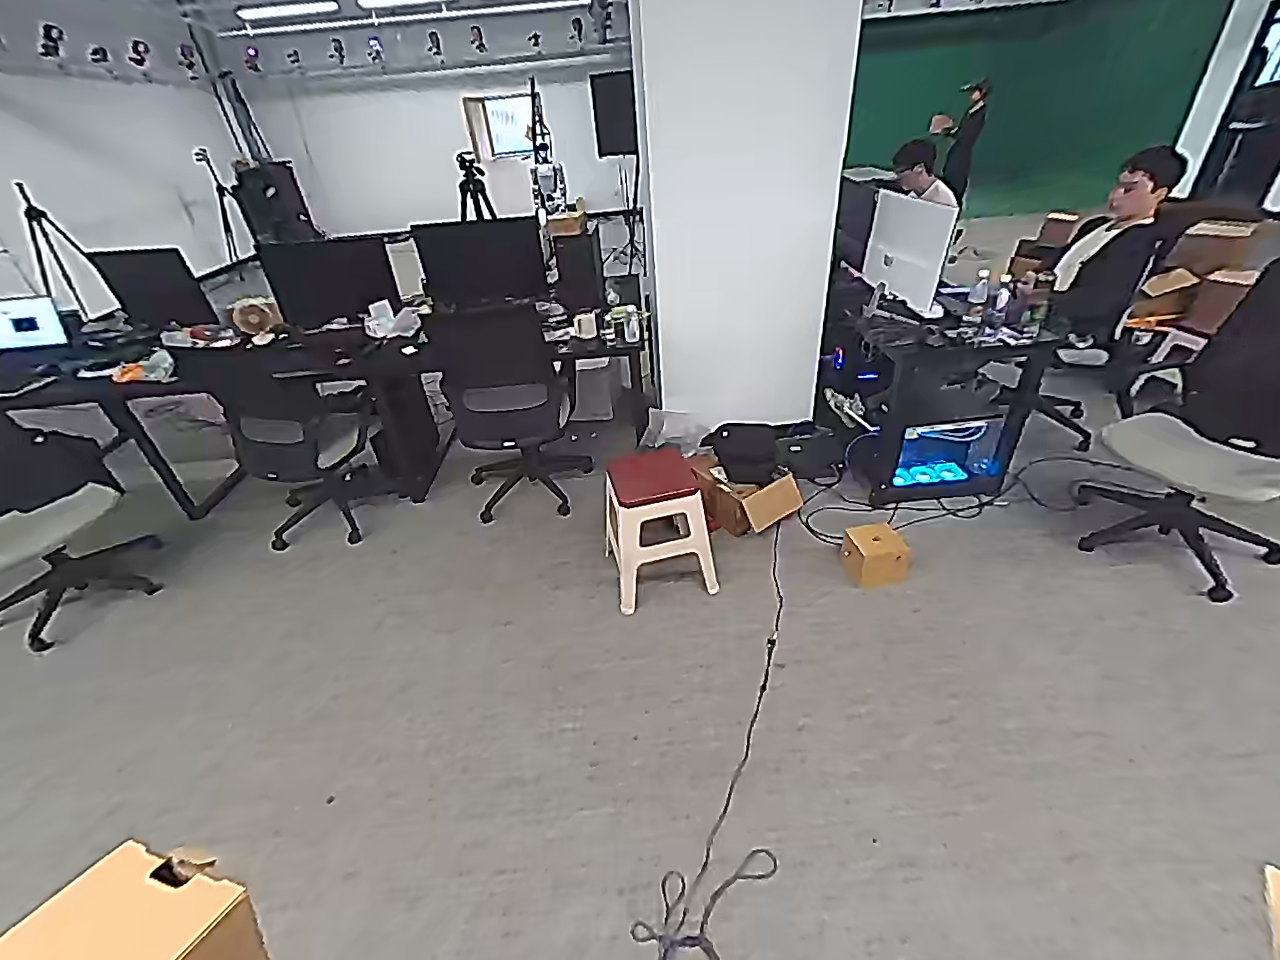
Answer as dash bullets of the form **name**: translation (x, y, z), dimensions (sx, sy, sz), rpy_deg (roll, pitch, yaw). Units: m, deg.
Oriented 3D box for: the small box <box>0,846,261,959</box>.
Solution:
- **small box**: translation (-0.458, 0.474, 0.464), dimensions (0.168, 0.176, 0.179), rpy_deg (5, 17, 17)
